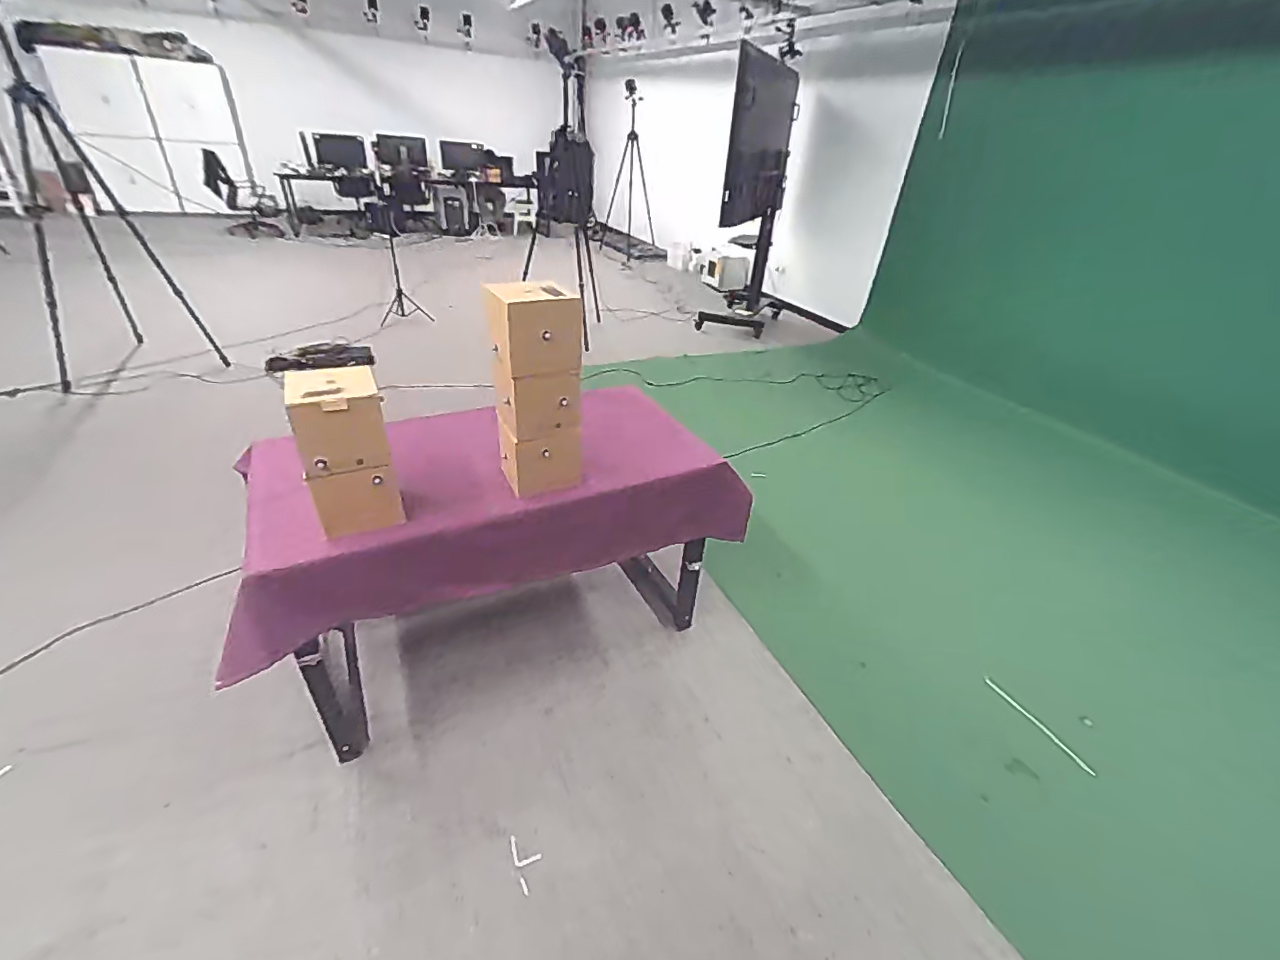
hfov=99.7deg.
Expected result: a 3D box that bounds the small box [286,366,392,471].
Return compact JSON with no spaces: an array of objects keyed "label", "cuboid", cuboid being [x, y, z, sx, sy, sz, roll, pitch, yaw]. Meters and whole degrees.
[{"label":"small box","cuboid":[-0.641,-0.130,1.158,0.168,0.176,0.179,-12,35,-26]}]

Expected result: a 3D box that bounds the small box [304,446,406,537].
[{"label":"small box","cuboid":[-0.654,0.009,1.244,0.179,0.176,0.168,-12,36,-26]}]

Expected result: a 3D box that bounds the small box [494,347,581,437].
[{"label":"small box","cuboid":[-0.254,-0.216,1.346,0.168,0.176,0.179,-13,36,-26]}]

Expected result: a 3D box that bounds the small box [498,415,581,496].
[{"label":"small box","cuboid":[-0.263,-0.076,1.429,0.179,0.176,0.168,-12,37,-24]}]
